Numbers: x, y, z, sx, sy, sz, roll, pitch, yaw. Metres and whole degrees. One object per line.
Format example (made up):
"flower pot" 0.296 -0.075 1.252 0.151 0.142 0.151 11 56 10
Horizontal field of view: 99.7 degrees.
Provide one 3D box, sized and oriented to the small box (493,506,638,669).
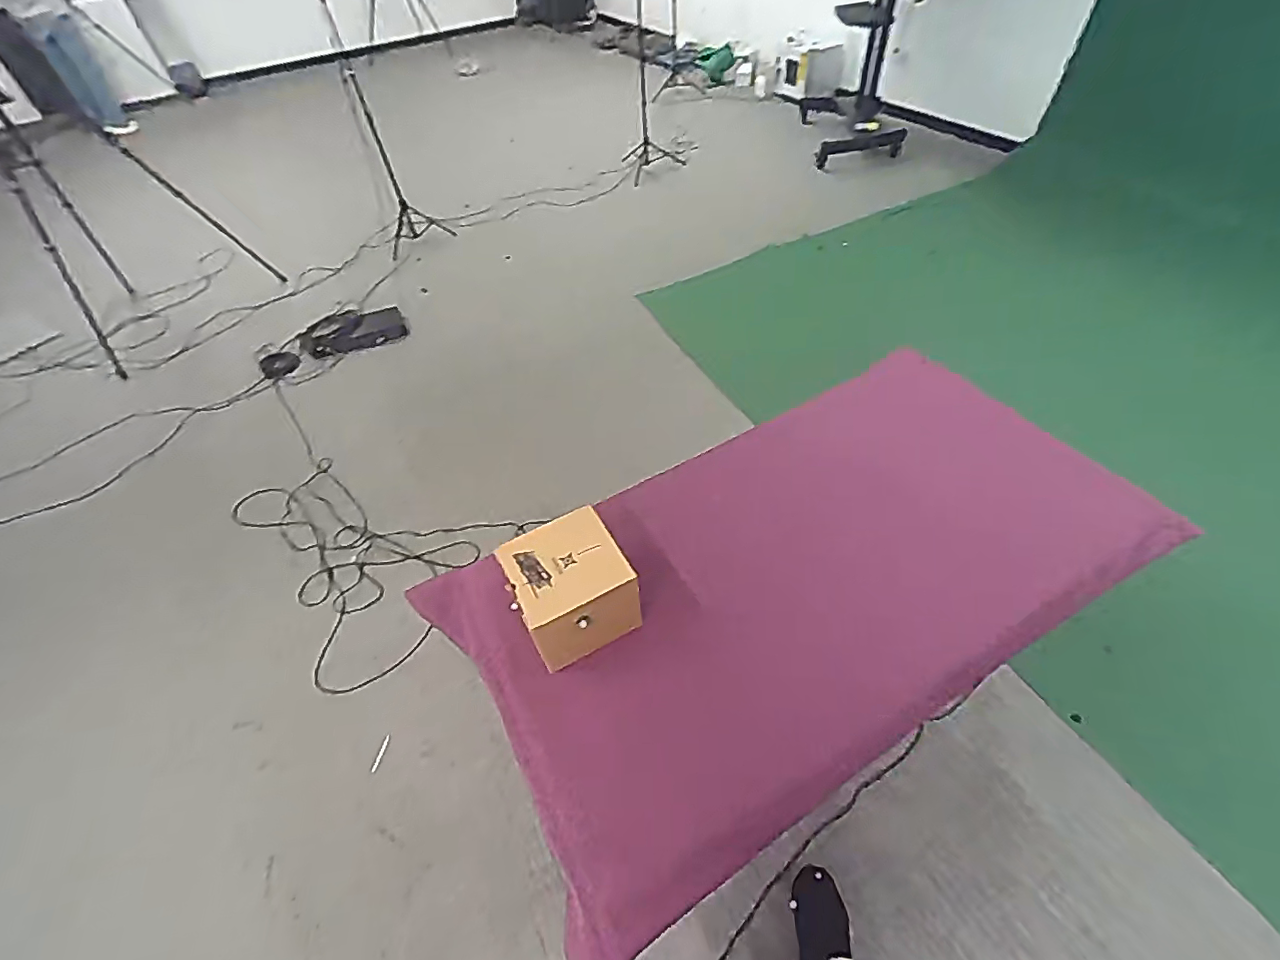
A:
"small box" -0.116 0.181 0.894 0.179 0.176 0.168 -25 53 -16
